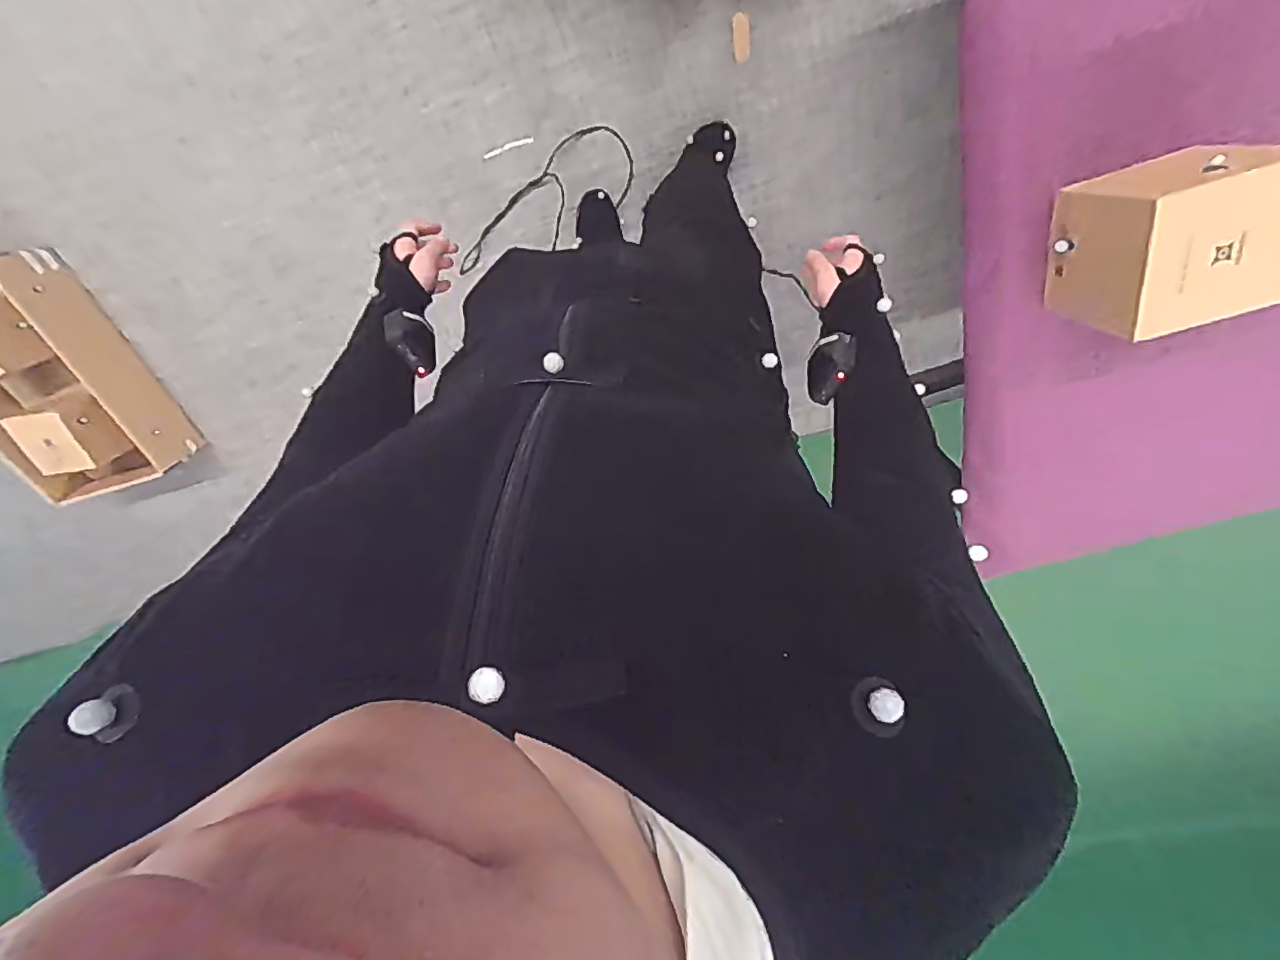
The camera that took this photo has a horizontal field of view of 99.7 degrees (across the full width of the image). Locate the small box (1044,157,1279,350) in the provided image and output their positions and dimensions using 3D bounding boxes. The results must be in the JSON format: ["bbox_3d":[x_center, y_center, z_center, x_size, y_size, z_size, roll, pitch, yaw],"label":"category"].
[{"bbox_3d":[0.651,-0.285,0.666,0.179,0.176,0.168,-15,120,7],"label":"small box"}]

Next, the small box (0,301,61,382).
[{"bbox_3d":[-1.689,-0.346,1.390,0.168,0.176,0.179,-19,120,10],"label":"small box"}]
